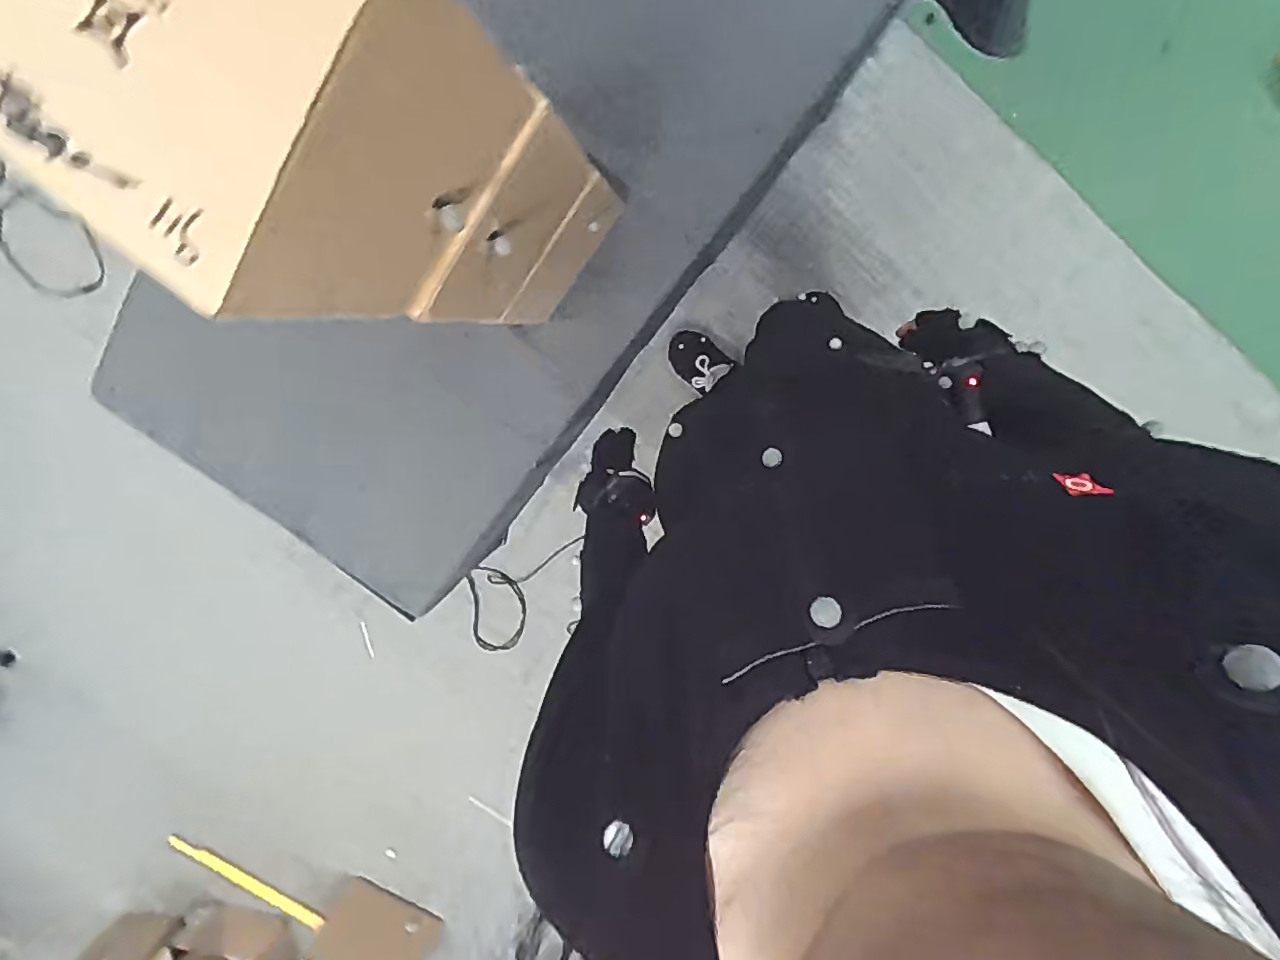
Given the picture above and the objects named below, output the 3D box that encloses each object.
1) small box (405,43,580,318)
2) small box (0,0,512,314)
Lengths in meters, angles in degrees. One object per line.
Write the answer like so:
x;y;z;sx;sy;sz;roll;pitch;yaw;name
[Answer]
-0.167;-0.257;0.449;0.168;0.176;0.179;38;108;-5;small box
-0.192;-0.212;0.293;0.168;0.176;0.179;40;107;-5;small box
